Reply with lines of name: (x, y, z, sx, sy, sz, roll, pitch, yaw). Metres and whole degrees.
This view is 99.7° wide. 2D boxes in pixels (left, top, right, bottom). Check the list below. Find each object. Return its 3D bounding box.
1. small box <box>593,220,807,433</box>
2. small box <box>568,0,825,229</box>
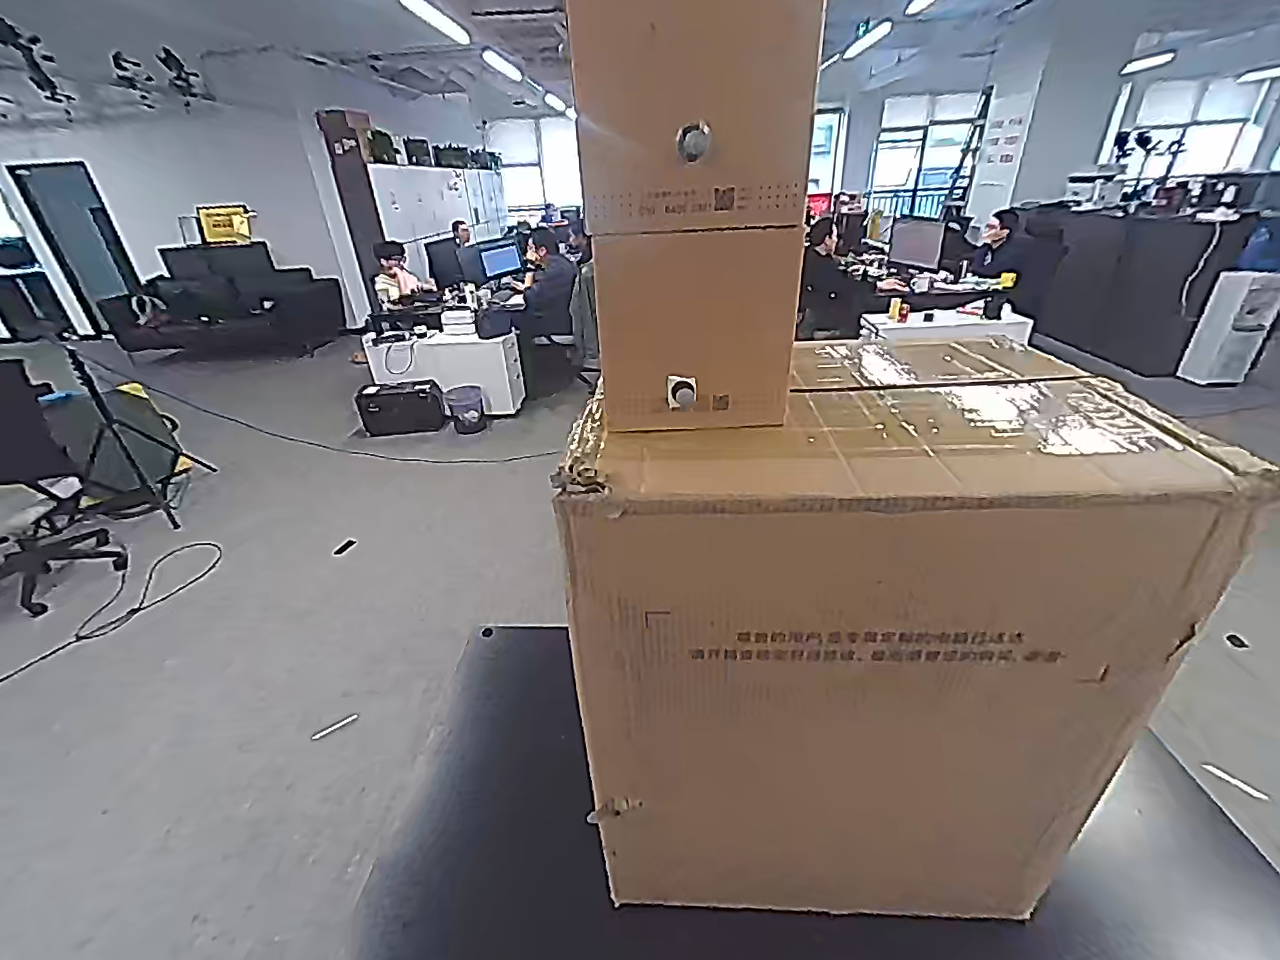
small box: (0.045, -0.157, 0.517, 0.168, 0.176, 0.179, -4, 31, -1)
small box: (0.036, -0.299, 0.434, 0.168, 0.176, 0.179, -3, 30, 1)
